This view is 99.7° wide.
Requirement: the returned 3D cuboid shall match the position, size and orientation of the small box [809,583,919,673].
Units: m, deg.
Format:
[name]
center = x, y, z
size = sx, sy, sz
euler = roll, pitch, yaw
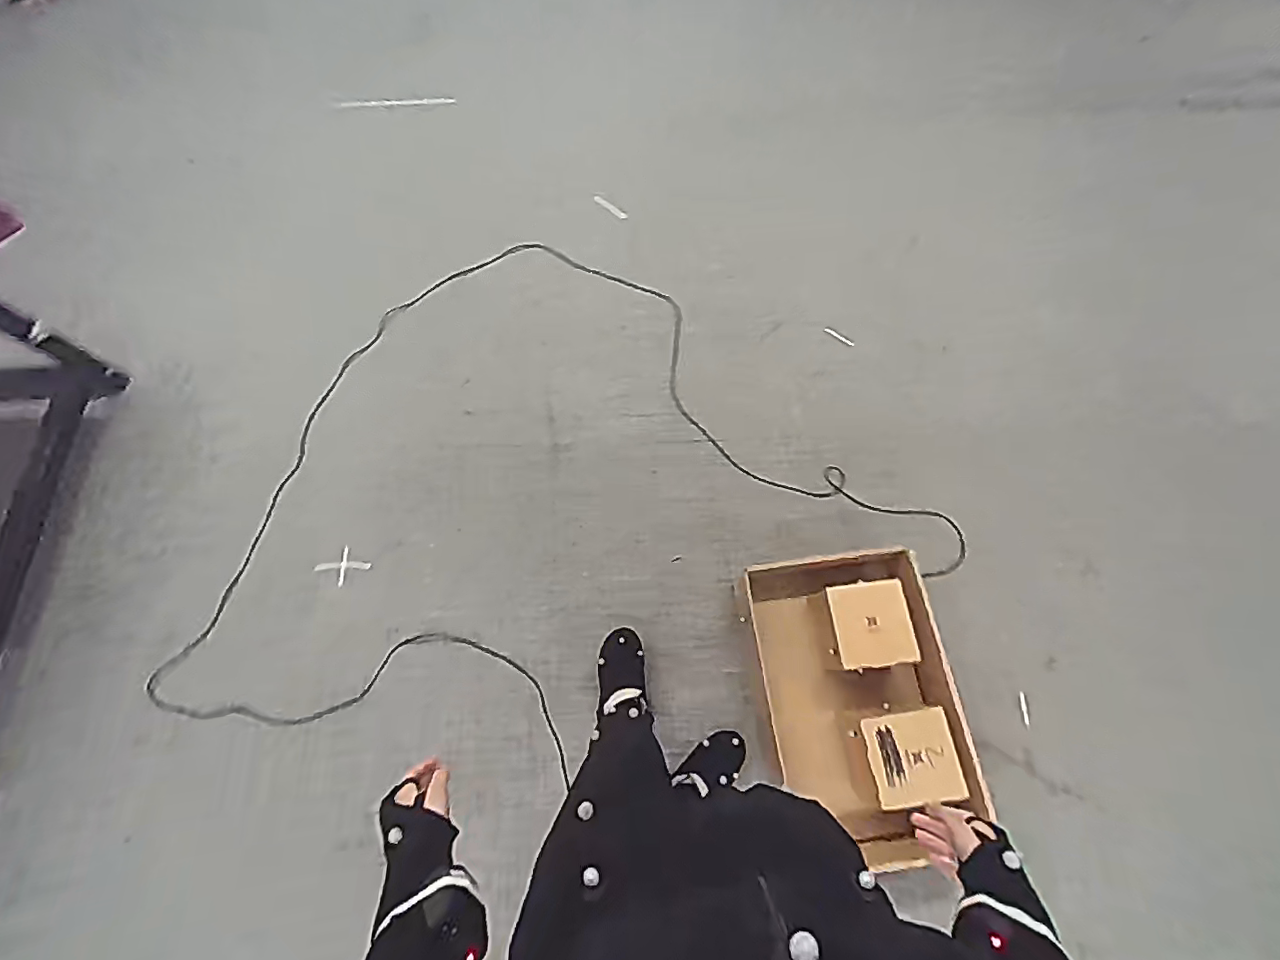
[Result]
[small box]
center = 0.500, 0.344, 1.237
size = 0.168, 0.176, 0.179
euler = -7, 71, 0
